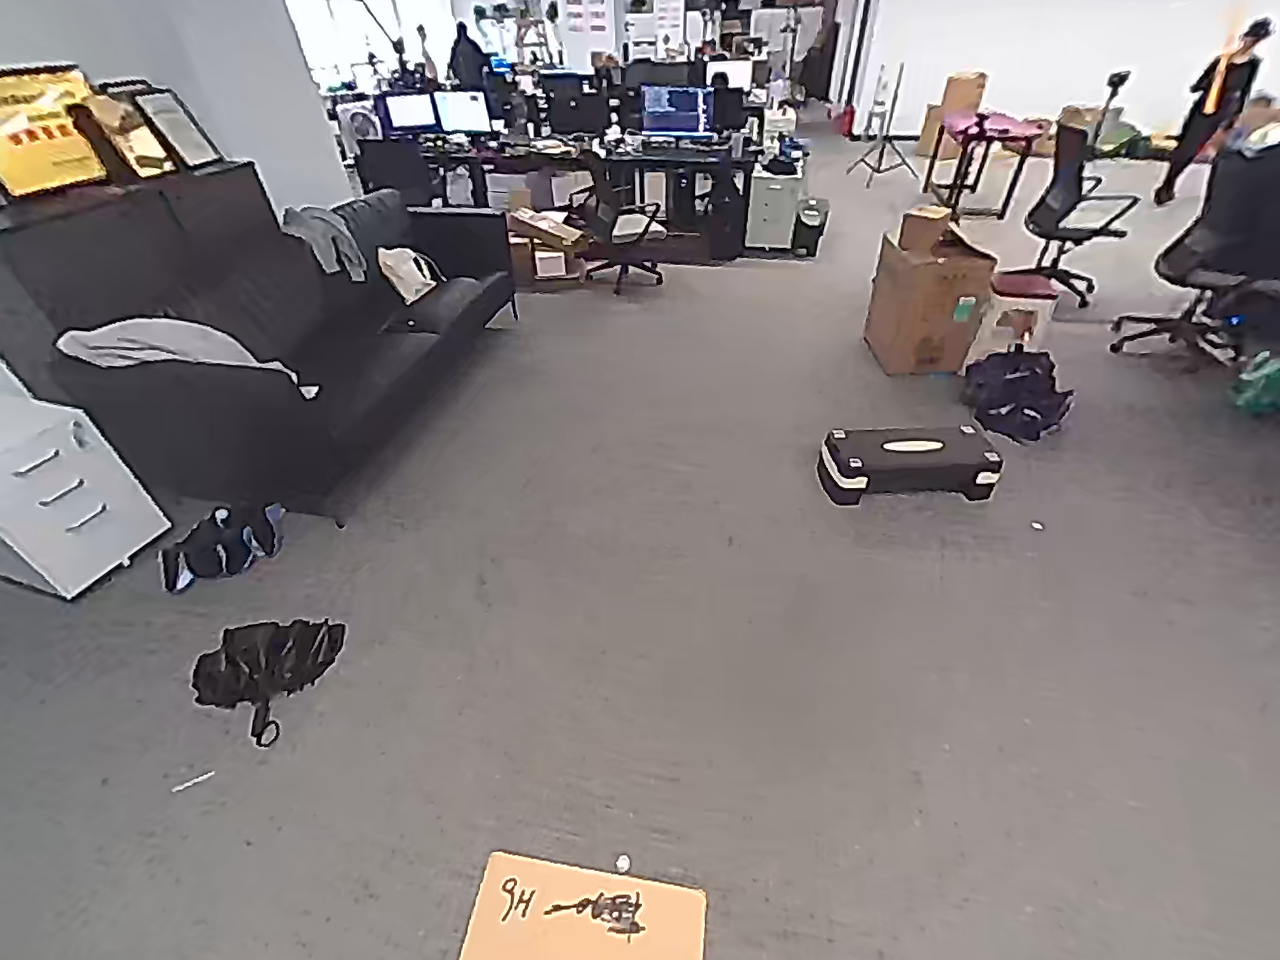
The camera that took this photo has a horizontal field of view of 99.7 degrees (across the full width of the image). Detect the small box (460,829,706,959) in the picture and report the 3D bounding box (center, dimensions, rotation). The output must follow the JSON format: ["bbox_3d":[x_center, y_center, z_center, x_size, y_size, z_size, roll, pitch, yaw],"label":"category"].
[{"bbox_3d":[-0.044,0.397,0.417,0.168,0.176,0.179,7,49,5],"label":"small box"}]
